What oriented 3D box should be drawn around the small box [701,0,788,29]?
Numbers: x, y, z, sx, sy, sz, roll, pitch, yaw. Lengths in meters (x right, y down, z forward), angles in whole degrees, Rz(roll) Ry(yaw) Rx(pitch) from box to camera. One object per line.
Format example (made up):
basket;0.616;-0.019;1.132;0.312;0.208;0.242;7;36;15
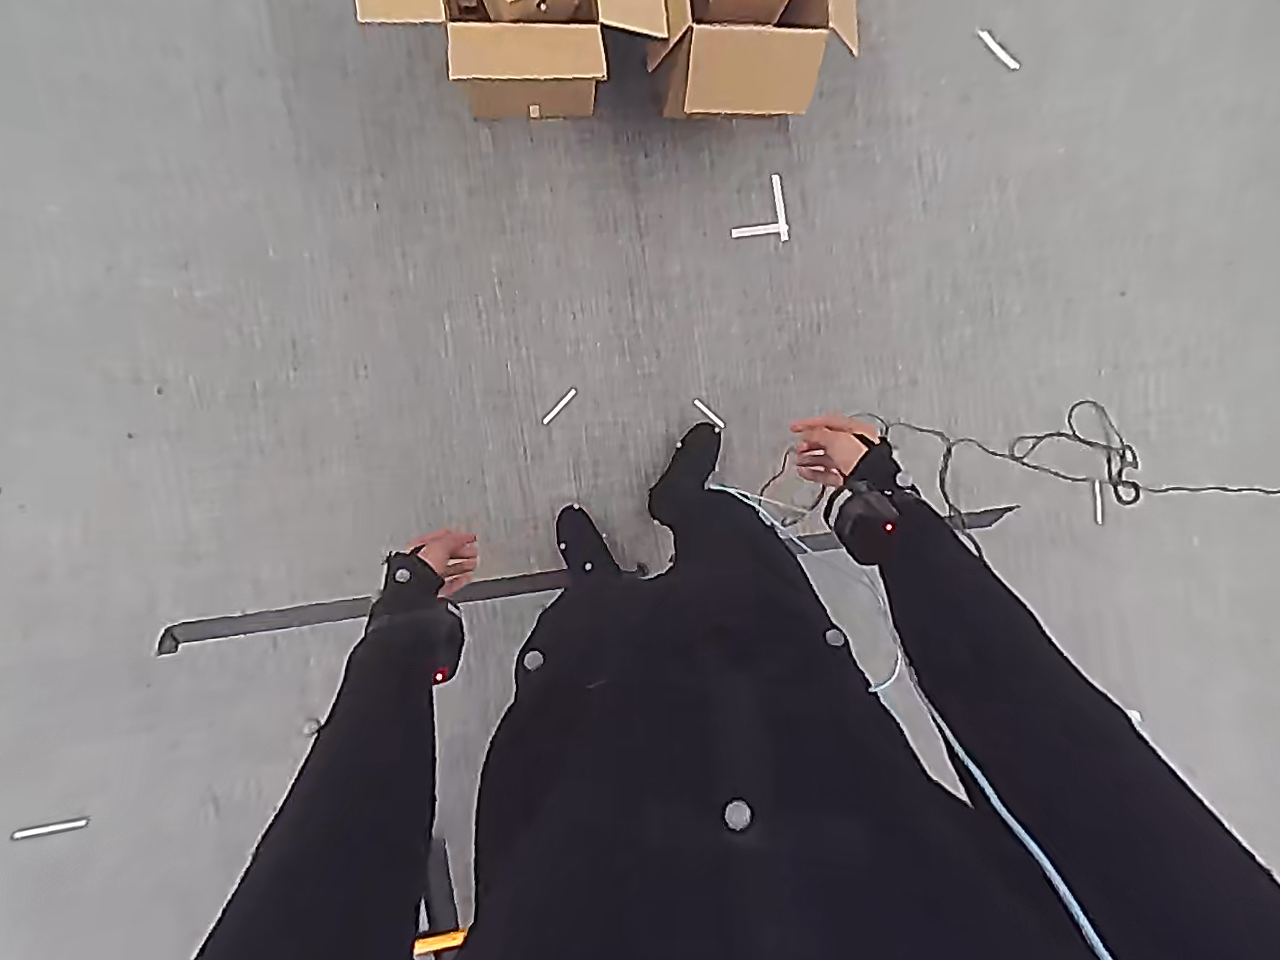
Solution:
small box;0.234;-1.107;1.150;0.179;0.176;0.168;-6;95;-8
